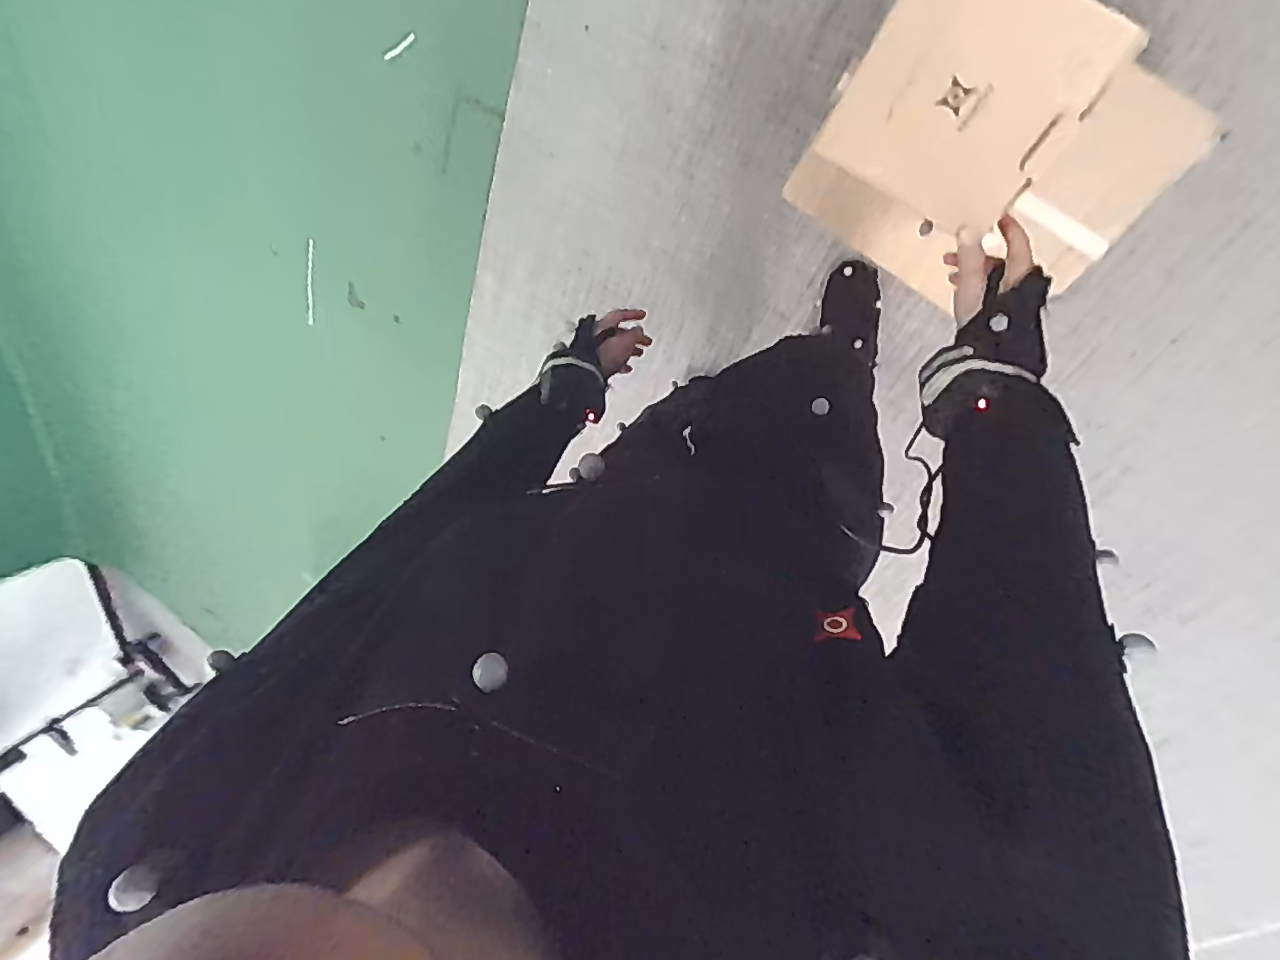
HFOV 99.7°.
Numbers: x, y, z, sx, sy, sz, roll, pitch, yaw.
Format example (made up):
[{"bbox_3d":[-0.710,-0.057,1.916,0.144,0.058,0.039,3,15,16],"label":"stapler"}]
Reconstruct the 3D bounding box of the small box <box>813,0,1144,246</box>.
[{"bbox_3d":[0.296,-0.347,0.507,0.179,0.176,0.168,36,126,8],"label":"small box"}]

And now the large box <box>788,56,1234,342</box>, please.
[{"bbox_3d":[0.506,-0.481,0.832,0.408,0.320,0.320,38,128,6],"label":"large box"}]
